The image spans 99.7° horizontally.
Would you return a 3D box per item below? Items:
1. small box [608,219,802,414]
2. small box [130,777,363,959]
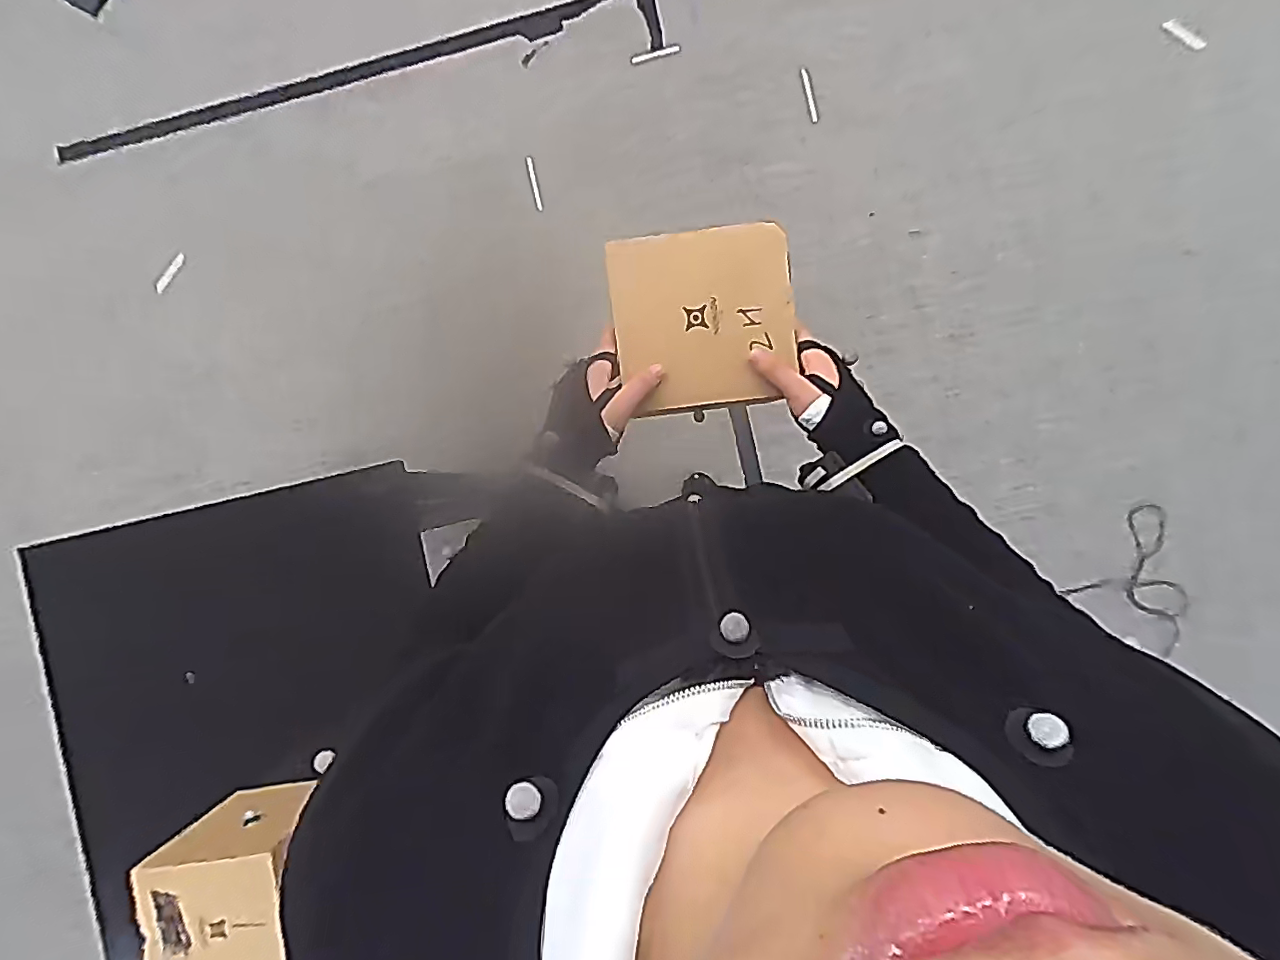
[{"bbox_3d":[0.064,-0.165,0.598,0.179,0.176,0.168,-6,96,0],"label":"small box"},{"bbox_3d":[-0.501,0.523,0.711,0.179,0.176,0.168,-9,89,1],"label":"small box"}]
